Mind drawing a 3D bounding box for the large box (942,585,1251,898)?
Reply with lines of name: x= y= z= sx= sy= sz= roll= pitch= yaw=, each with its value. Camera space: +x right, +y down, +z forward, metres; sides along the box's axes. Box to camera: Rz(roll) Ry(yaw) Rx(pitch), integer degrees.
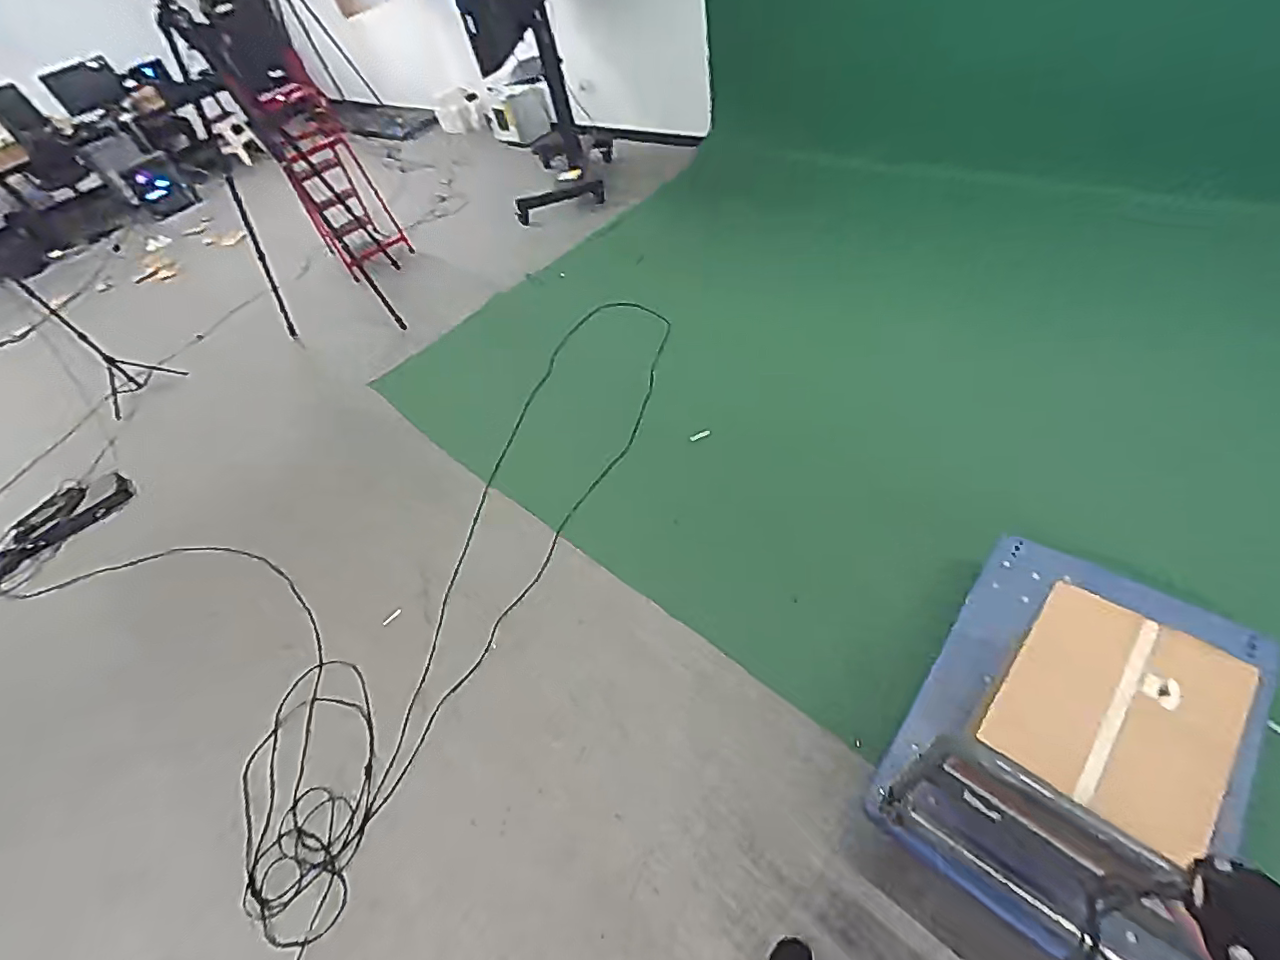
large box: x=0.861 y=0.501 z=1.061 sx=0.320 sy=0.320 sz=0.408 roll=31 pitch=62 yaw=33
